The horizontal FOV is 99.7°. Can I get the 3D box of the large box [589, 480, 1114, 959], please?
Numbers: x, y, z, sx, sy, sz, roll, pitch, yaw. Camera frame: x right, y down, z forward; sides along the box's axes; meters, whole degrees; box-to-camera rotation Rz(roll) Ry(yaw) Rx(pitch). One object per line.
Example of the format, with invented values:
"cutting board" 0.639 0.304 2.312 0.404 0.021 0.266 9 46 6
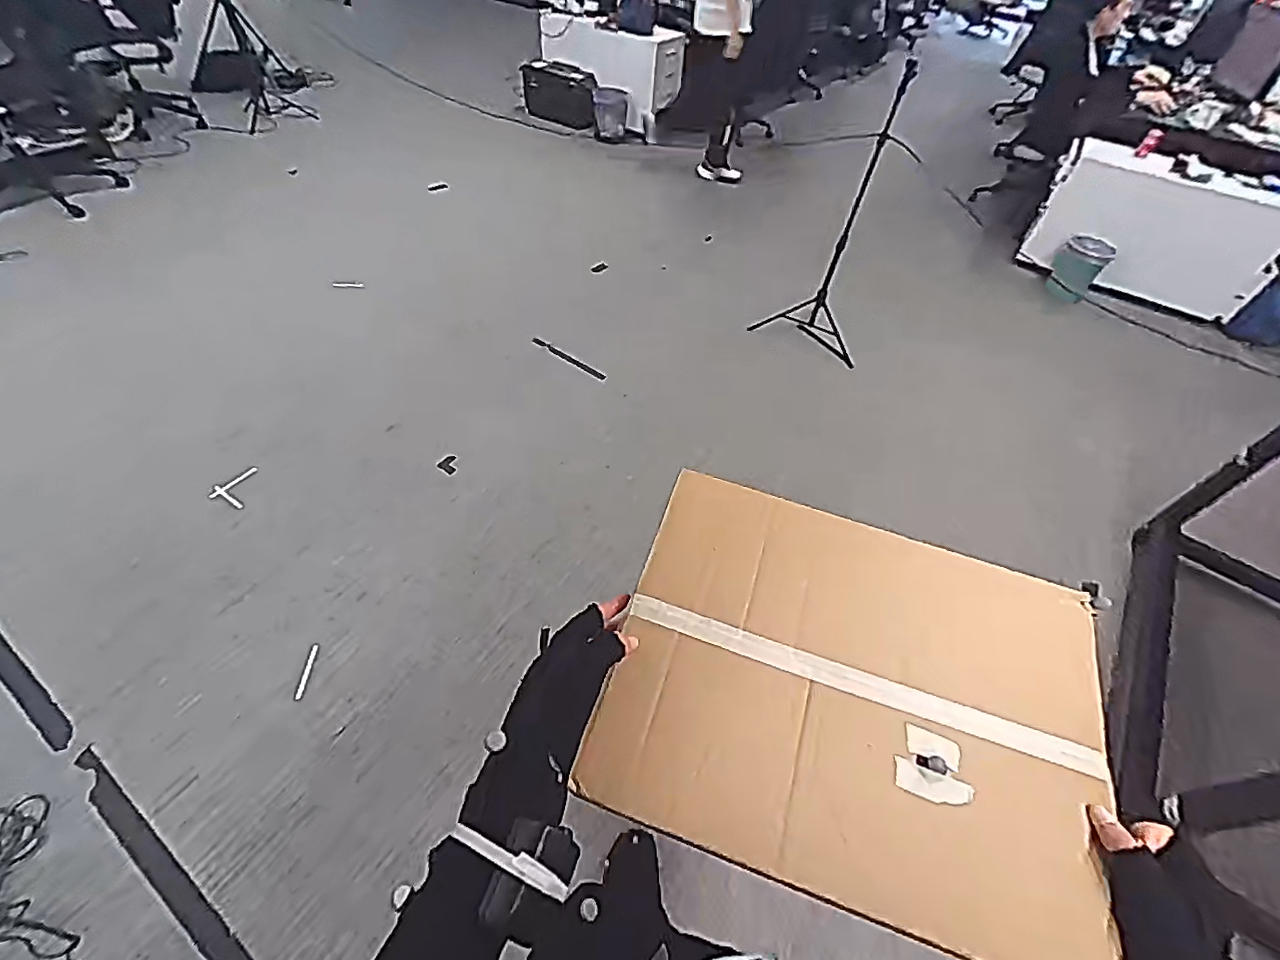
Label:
"large box" 0.185 0.253 0.604 0.408 0.320 0.320 18 61 8
